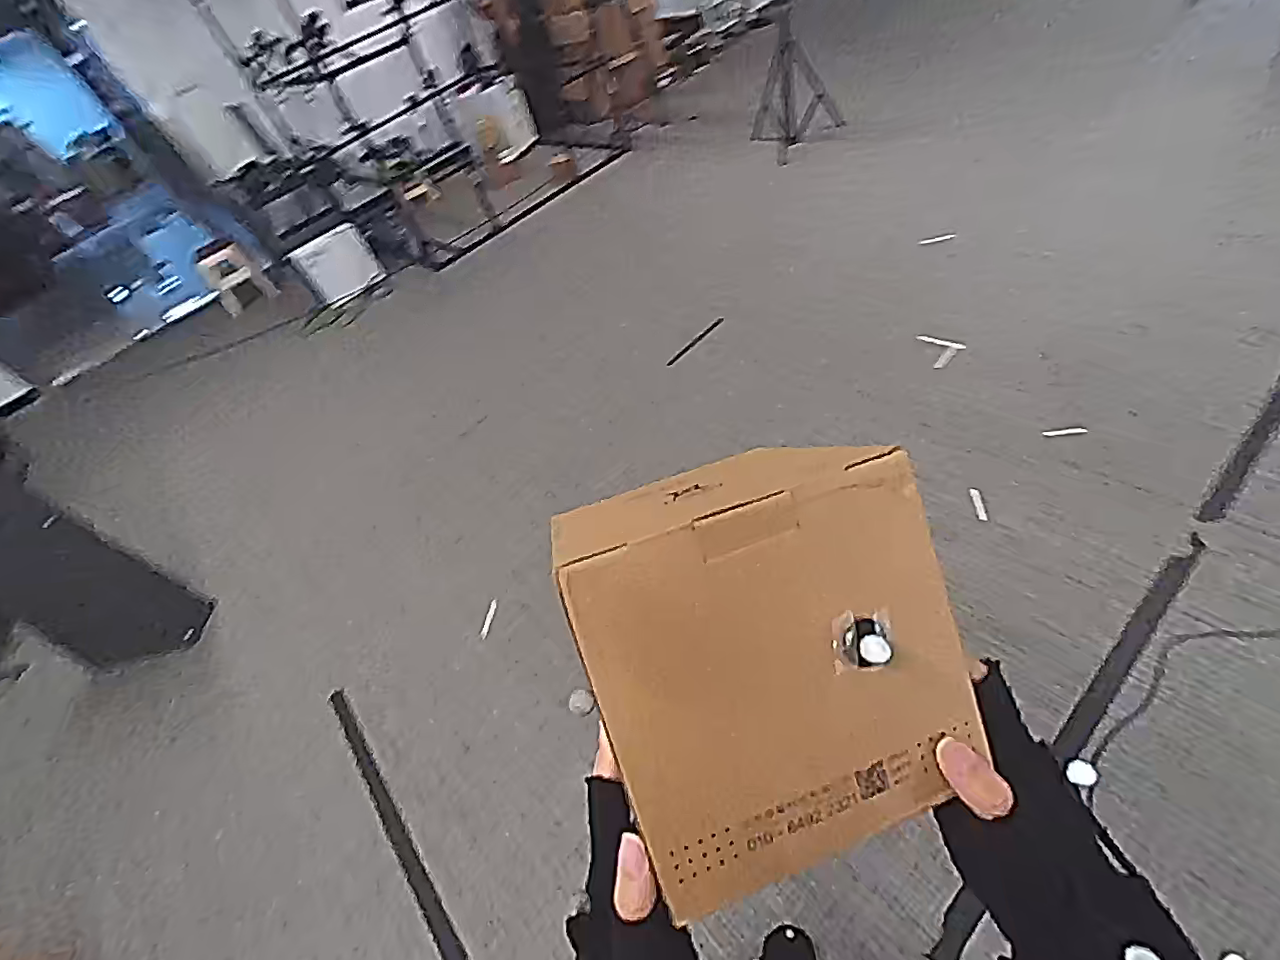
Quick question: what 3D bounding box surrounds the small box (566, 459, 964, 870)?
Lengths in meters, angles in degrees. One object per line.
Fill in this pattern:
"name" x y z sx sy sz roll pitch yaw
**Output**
"small box" 0.058 0.094 0.334 0.168 0.176 0.179 -18 5 -7
